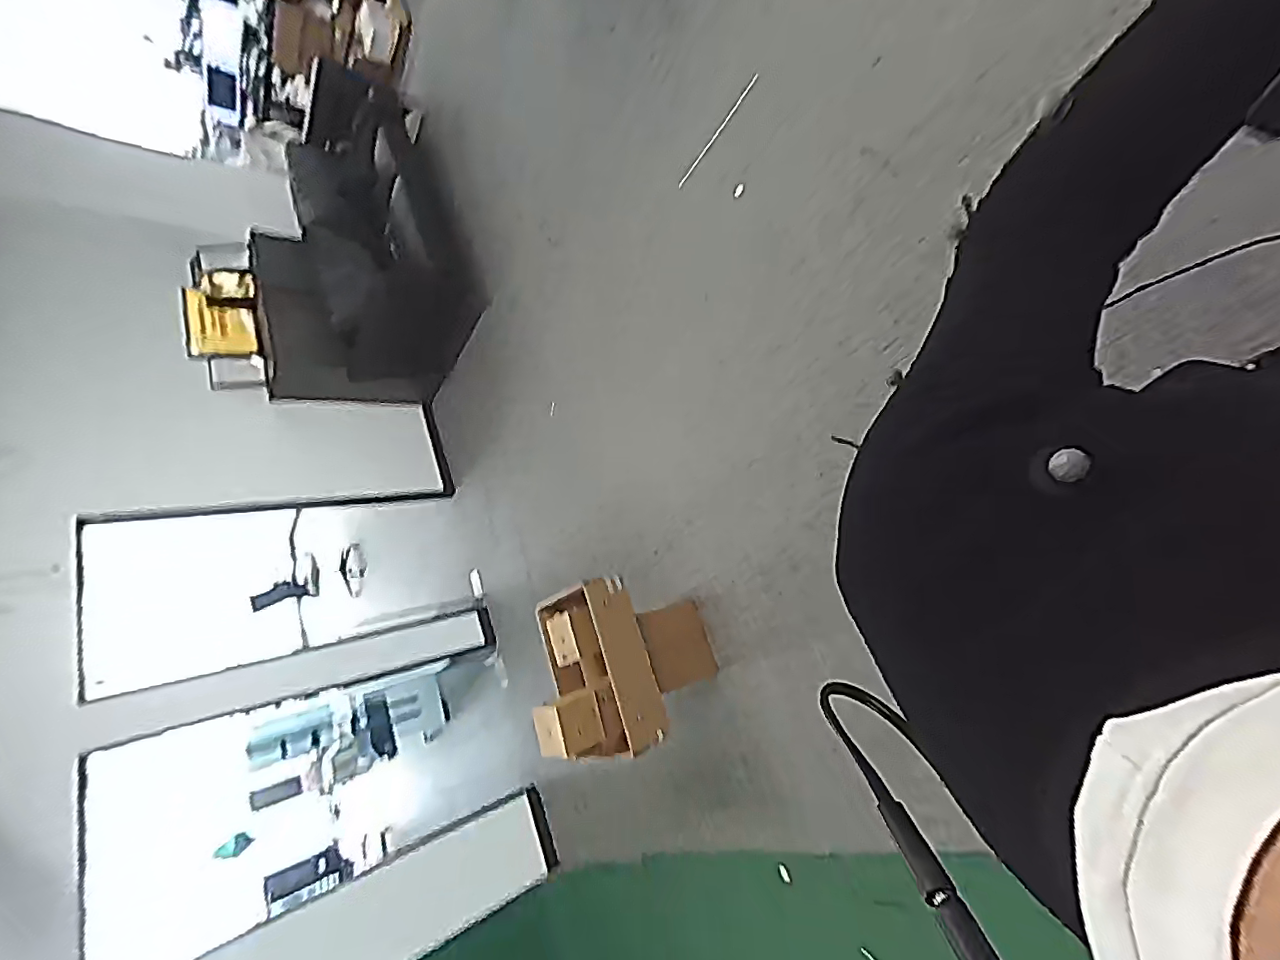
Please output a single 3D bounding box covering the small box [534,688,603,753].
[{"bbox_3d":[-0.244,0.839,1.896,0.179,0.176,0.168,-30,71,46],"label":"small box"}]
